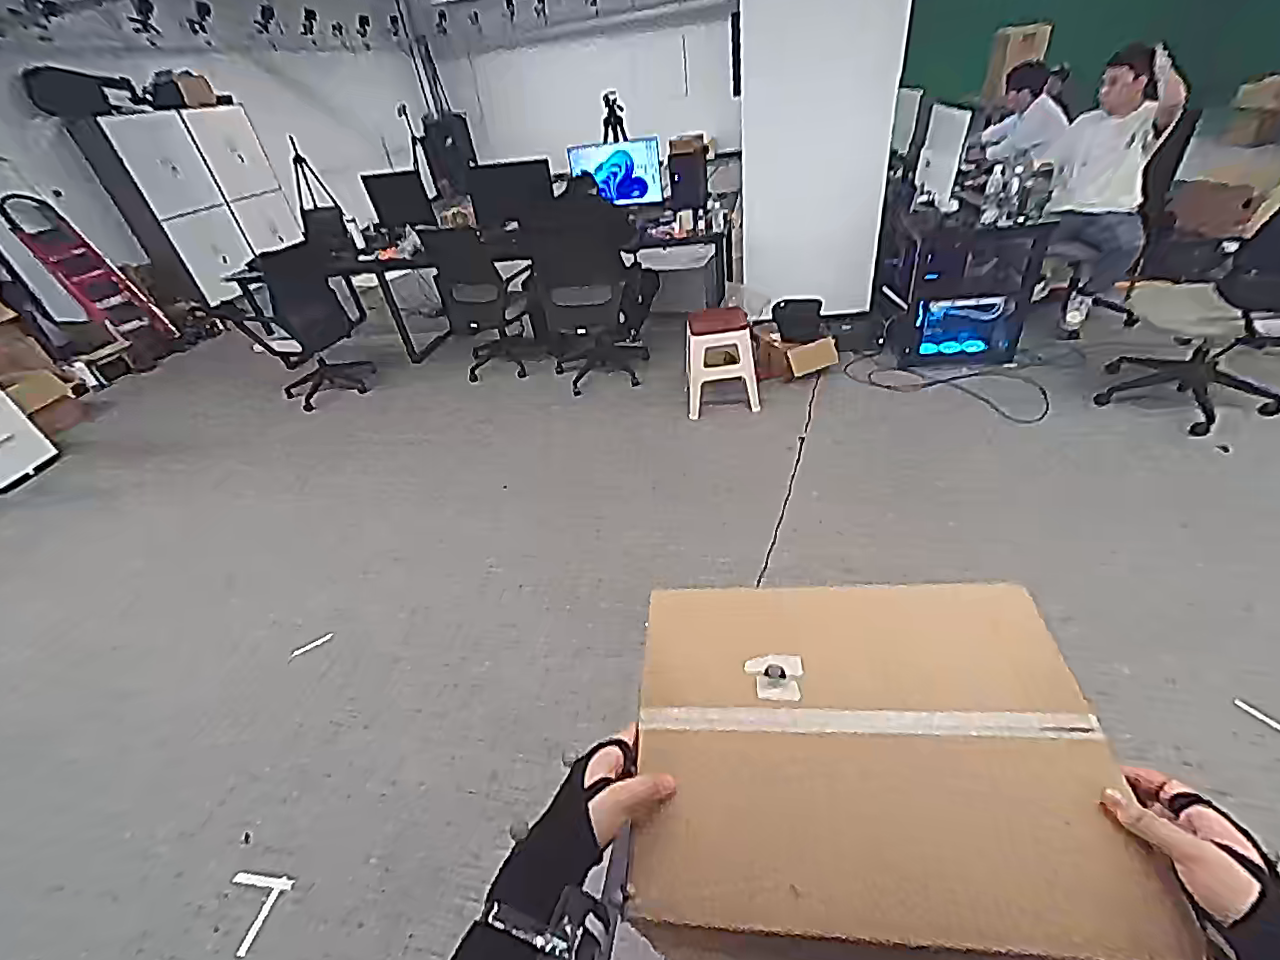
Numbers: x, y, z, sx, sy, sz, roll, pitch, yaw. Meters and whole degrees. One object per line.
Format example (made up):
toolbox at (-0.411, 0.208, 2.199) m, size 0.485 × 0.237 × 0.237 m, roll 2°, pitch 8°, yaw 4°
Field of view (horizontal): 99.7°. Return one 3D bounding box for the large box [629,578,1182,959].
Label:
large box at (0.225, 0.335, 0.614) m, size 0.408 × 0.320 × 0.320 m, roll -4°, pitch 42°, yaw 11°
